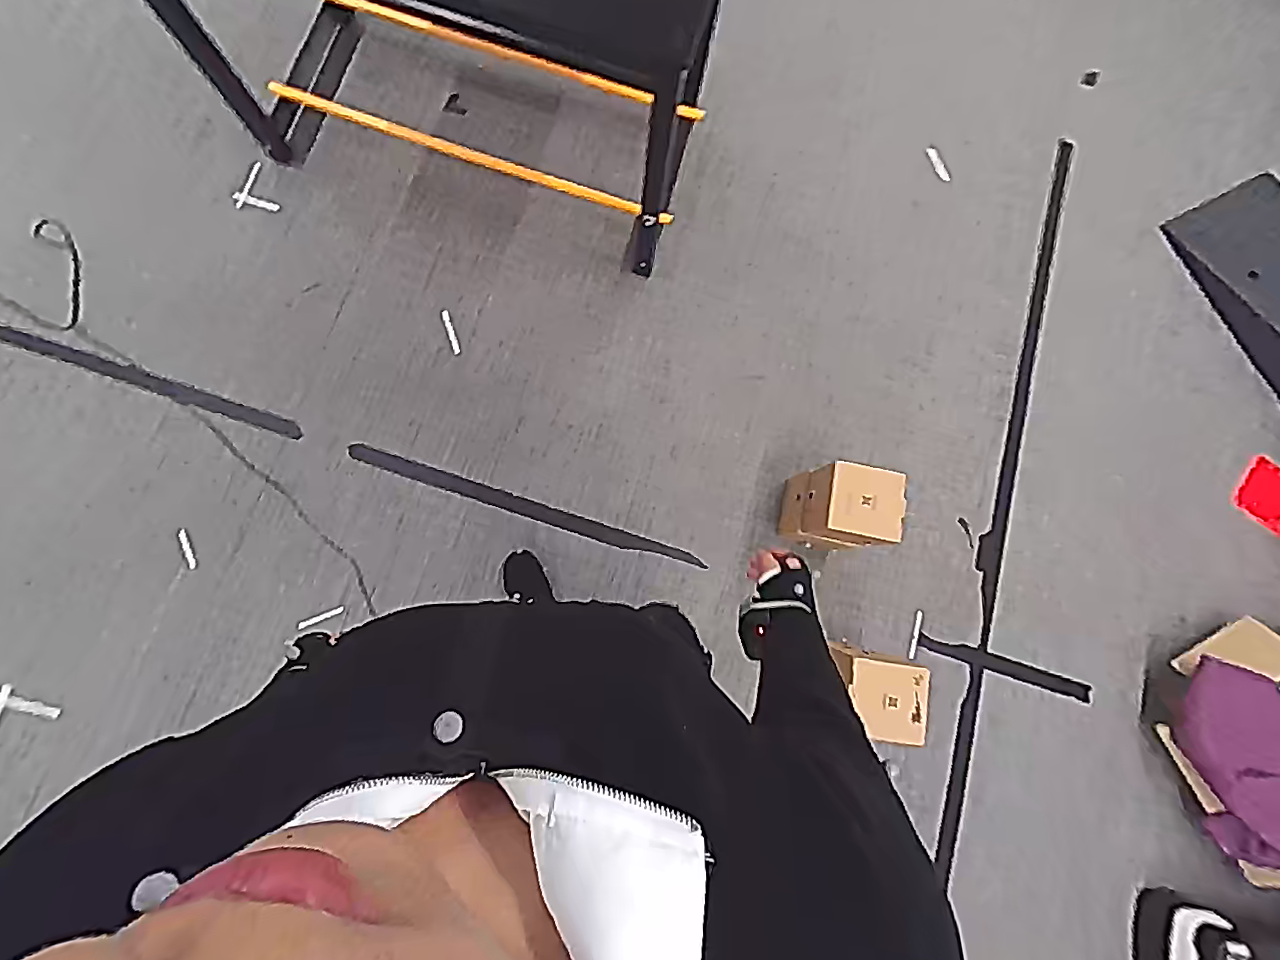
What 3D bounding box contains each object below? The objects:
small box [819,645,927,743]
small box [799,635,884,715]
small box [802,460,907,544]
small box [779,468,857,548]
[{"bbox_3d":[0.536,0.490,1.263,0.179,0.176,0.168,10,81,-2],"label":"small box"},{"bbox_3d":[0.532,0.520,1.424,0.168,0.176,0.179,12,80,-2],"label":"small box"},{"bbox_3d":[0.521,0.061,1.328,0.179,0.176,0.168,11,79,-1],"label":"small box"},{"bbox_3d":[0.498,0.083,1.489,0.168,0.176,0.179,15,81,-2],"label":"small box"}]
